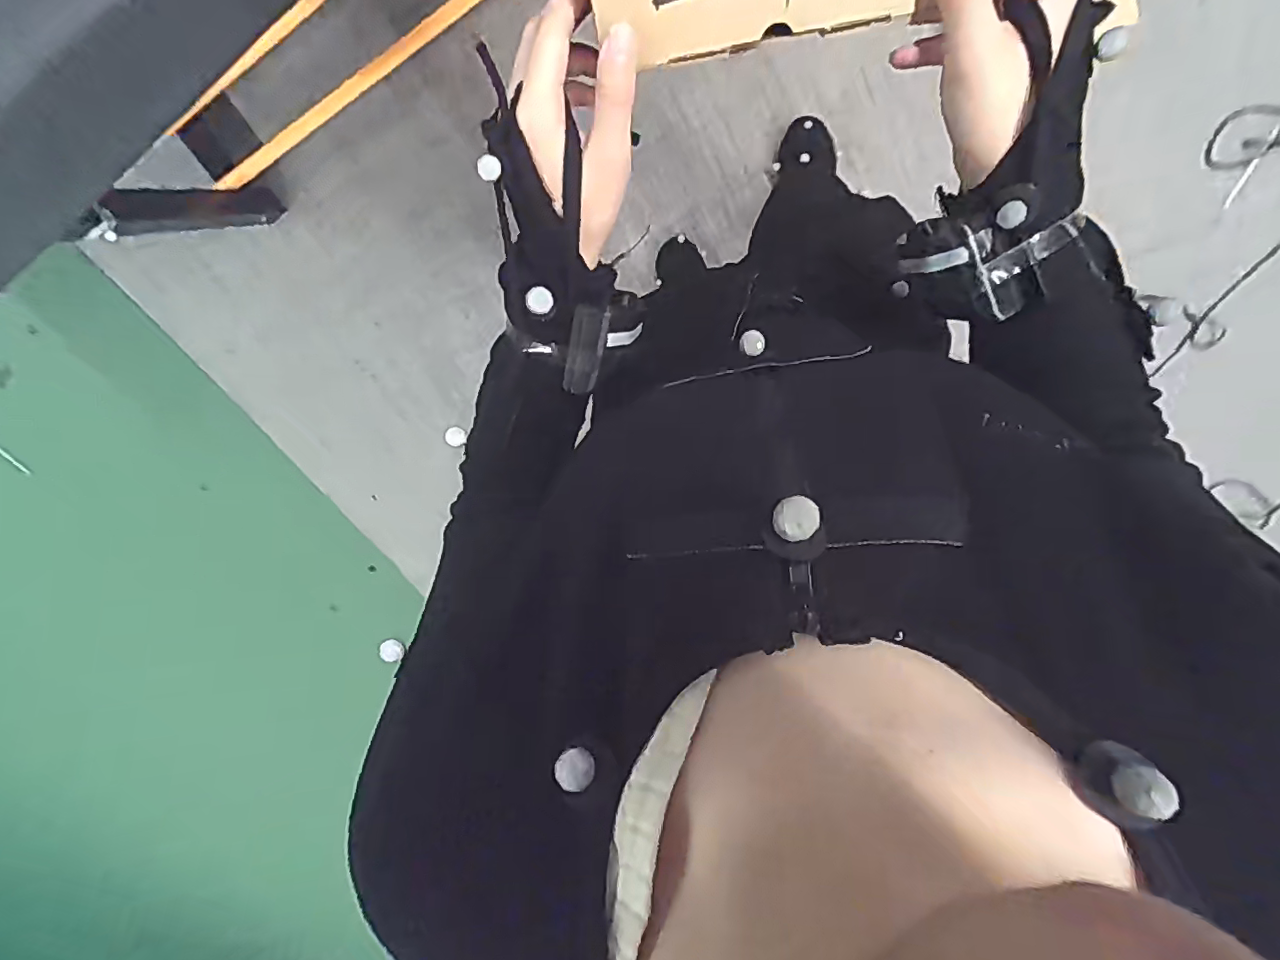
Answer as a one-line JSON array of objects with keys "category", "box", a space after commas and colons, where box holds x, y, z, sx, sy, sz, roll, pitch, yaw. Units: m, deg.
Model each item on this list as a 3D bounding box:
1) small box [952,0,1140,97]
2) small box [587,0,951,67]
[{"category": "small box", "box": [0.674, -0.793, 0.914, 0.179, 0.176, 0.168, -31, 113, 17]}, {"category": "small box", "box": [0.049, -0.320, 0.242, 0.168, 0.176, 0.179, -7, 136, 4]}]
